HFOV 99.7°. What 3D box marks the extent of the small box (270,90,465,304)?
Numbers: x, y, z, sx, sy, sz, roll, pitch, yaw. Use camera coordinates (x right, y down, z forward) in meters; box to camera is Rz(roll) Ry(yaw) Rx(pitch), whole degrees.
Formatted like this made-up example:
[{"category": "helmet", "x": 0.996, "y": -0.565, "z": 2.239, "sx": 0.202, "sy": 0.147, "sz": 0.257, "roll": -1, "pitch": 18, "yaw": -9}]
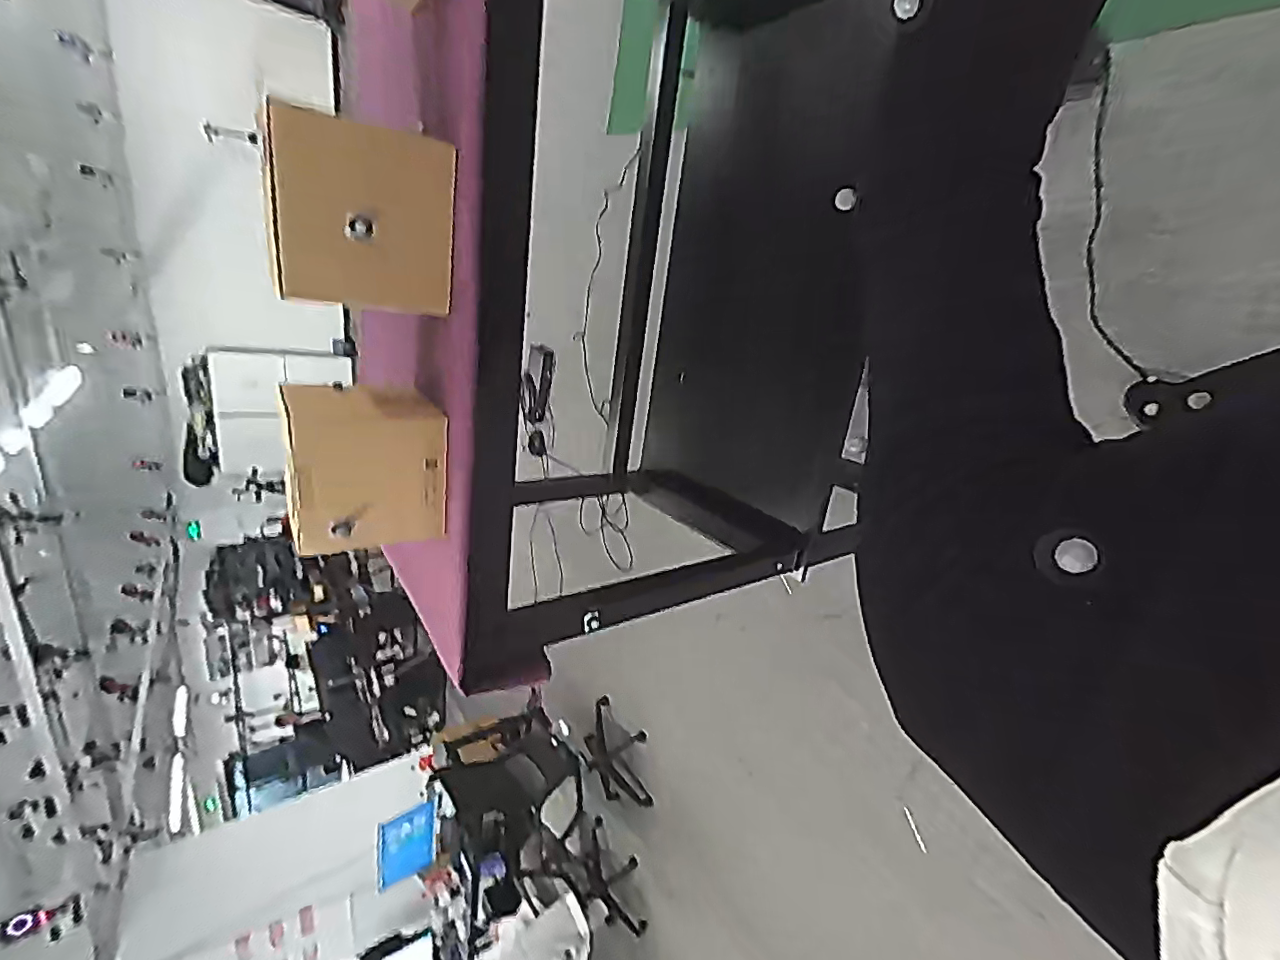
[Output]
[{"category": "small box", "x": -0.307, "y": -0.309, "z": 0.617, "sx": 0.168, "sy": 0.176, "sz": 0.179, "roll": 37, "pitch": 125, "yaw": 46}]
